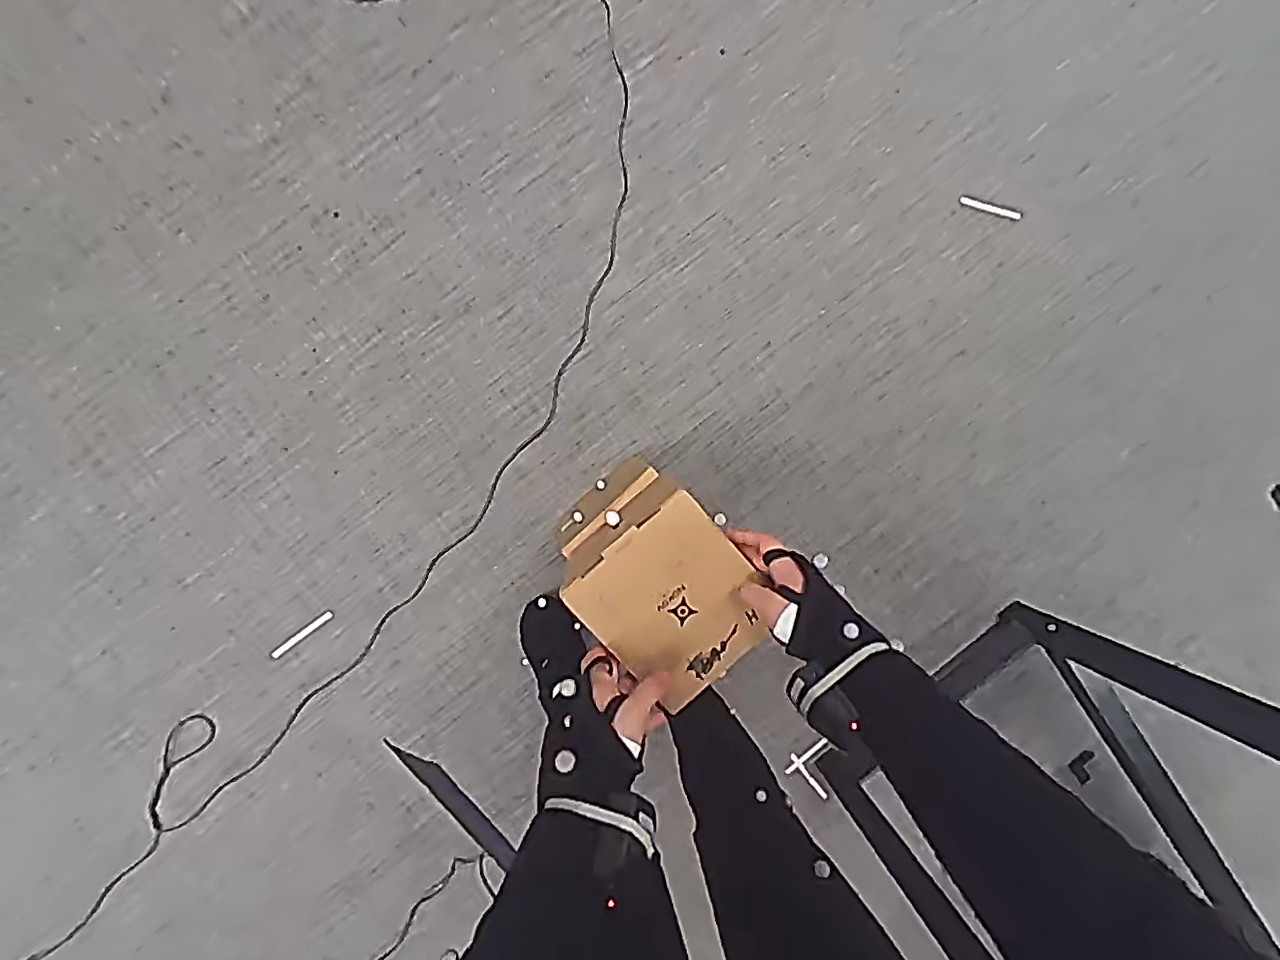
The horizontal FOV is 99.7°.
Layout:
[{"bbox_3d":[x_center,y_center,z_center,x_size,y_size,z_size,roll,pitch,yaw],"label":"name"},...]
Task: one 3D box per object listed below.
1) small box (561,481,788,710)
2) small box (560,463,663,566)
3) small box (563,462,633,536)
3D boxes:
[{"bbox_3d":[0.031,0.115,0.622,0.168,0.176,0.179,-42,97,2],"label":"small box"},{"bbox_3d":[-0.004,0.092,0.840,0.179,0.176,0.168,-44,99,-2],"label":"small box"},{"bbox_3d":[-0.026,0.081,1.000,0.179,0.176,0.168,-41,98,0],"label":"small box"}]
